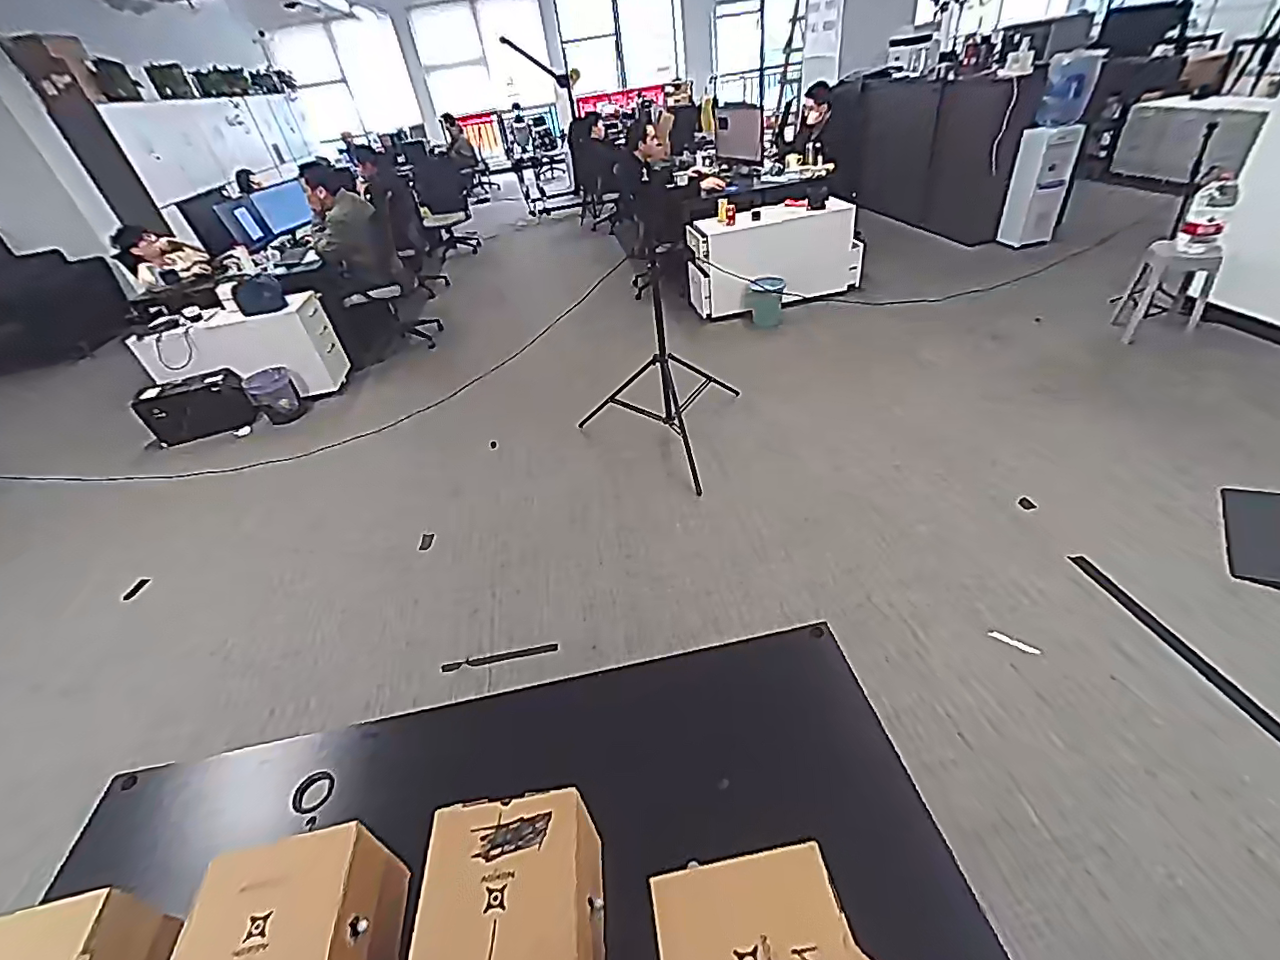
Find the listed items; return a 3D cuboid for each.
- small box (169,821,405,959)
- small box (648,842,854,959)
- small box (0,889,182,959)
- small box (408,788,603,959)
[{"bbox_3d":[-0.382,0.522,0.599,0.168,0.176,0.179,-11,36,-5],"label":"small box"},{"bbox_3d":[0.114,0.495,0.532,0.179,0.176,0.168,-11,38,-2],"label":"small box"},{"bbox_3d":[-0.637,0.577,0.575,0.179,0.176,0.168,-12,37,-6],"label":"small box"},{"bbox_3d":[-0.135,0.480,0.602,0.168,0.176,0.179,-9,38,0],"label":"small box"}]
